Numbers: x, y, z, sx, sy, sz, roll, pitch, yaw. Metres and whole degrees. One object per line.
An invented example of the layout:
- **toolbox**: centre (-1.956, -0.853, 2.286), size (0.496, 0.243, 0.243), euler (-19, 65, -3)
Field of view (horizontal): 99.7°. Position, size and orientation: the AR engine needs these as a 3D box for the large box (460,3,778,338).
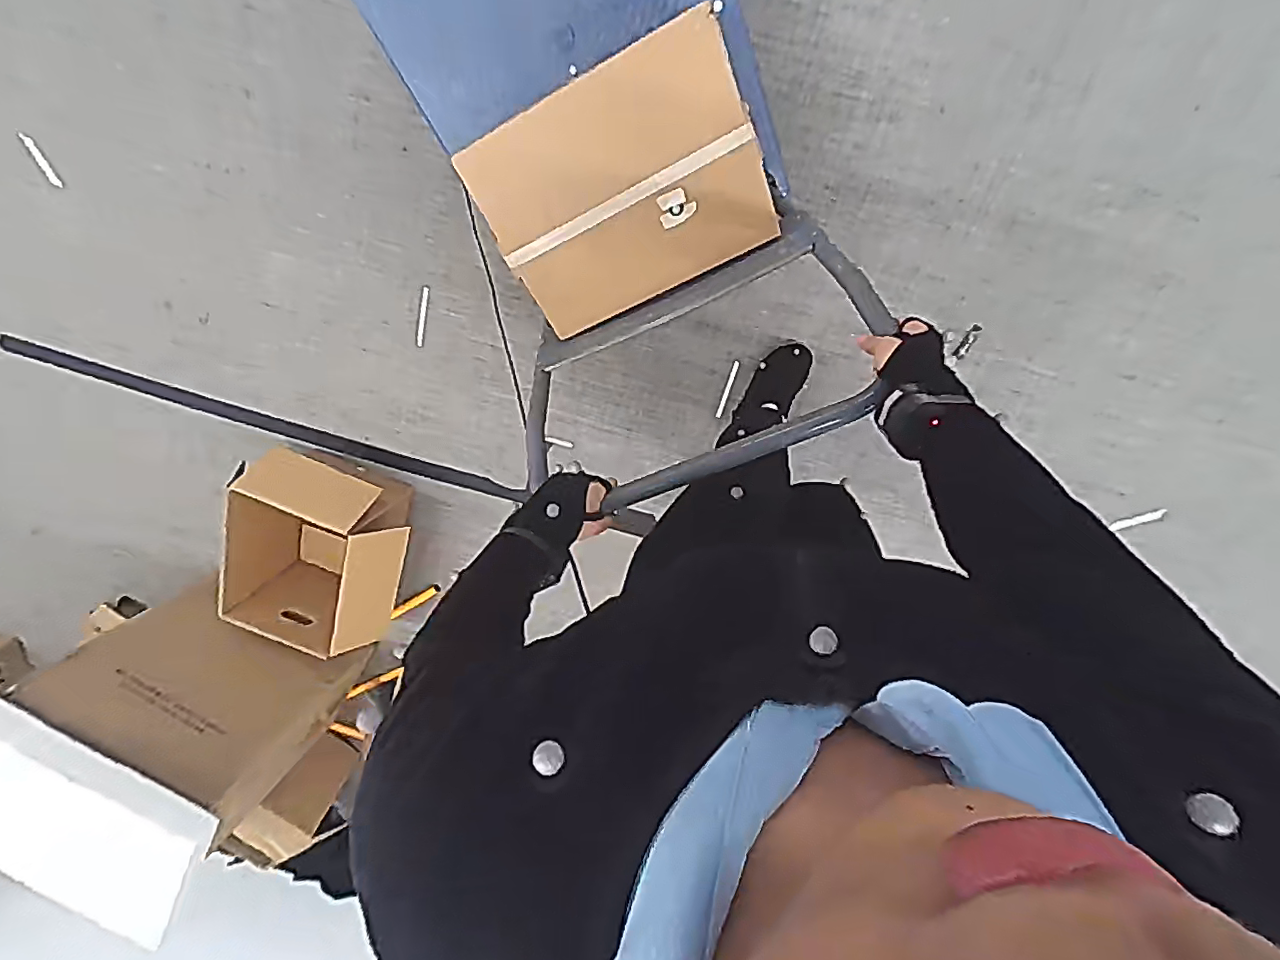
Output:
- **large box**: centre (-0.029, -0.517, 0.937), size (0.408, 0.320, 0.320), euler (-22, 126, 14)
